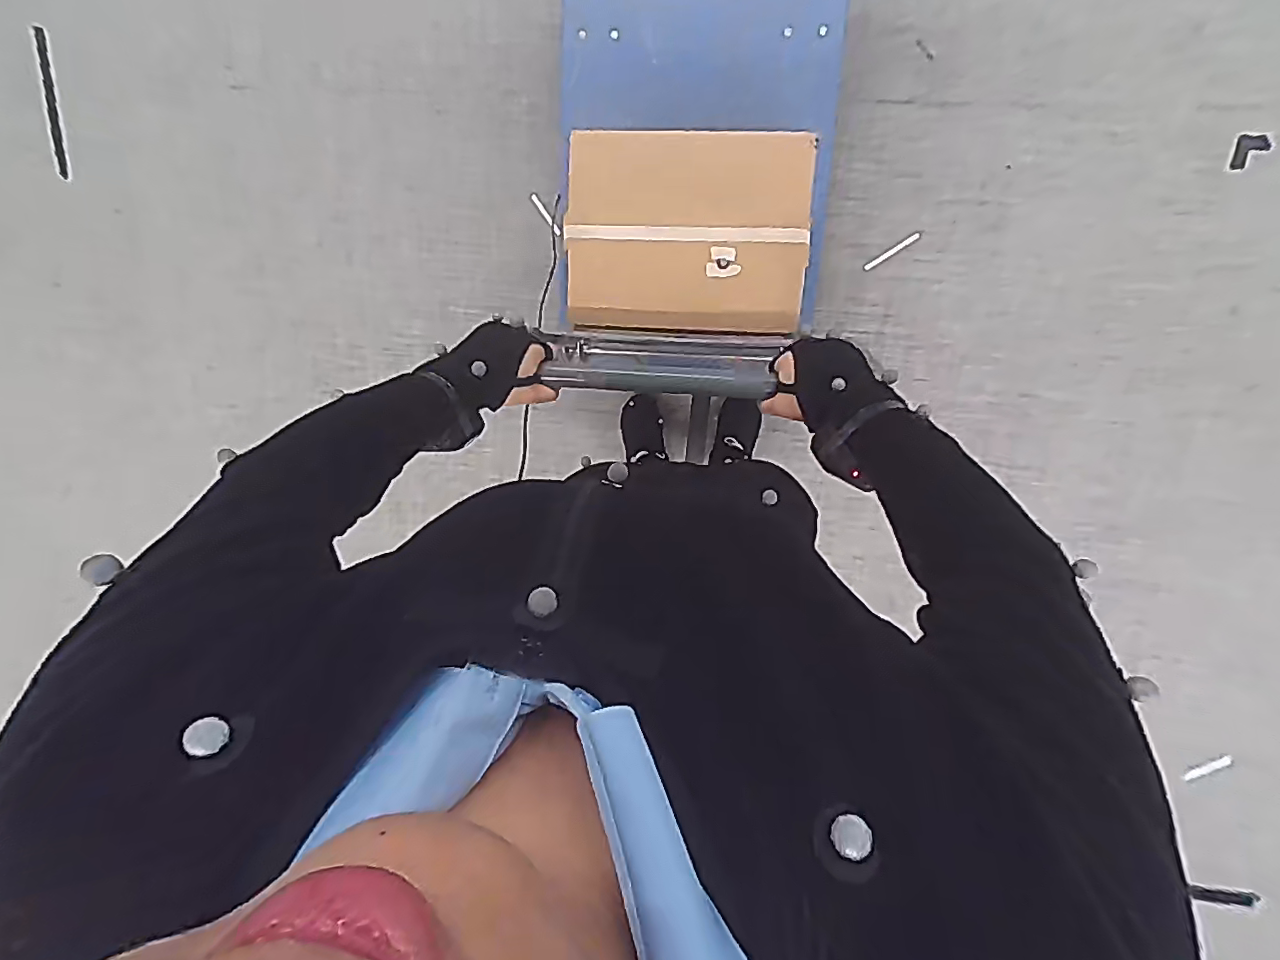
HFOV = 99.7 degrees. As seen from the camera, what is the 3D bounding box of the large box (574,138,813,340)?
[{"bbox_3d":[0.094,-0.446,1.072,0.408,0.320,0.320,3,103,5],"label":"large box"}]
